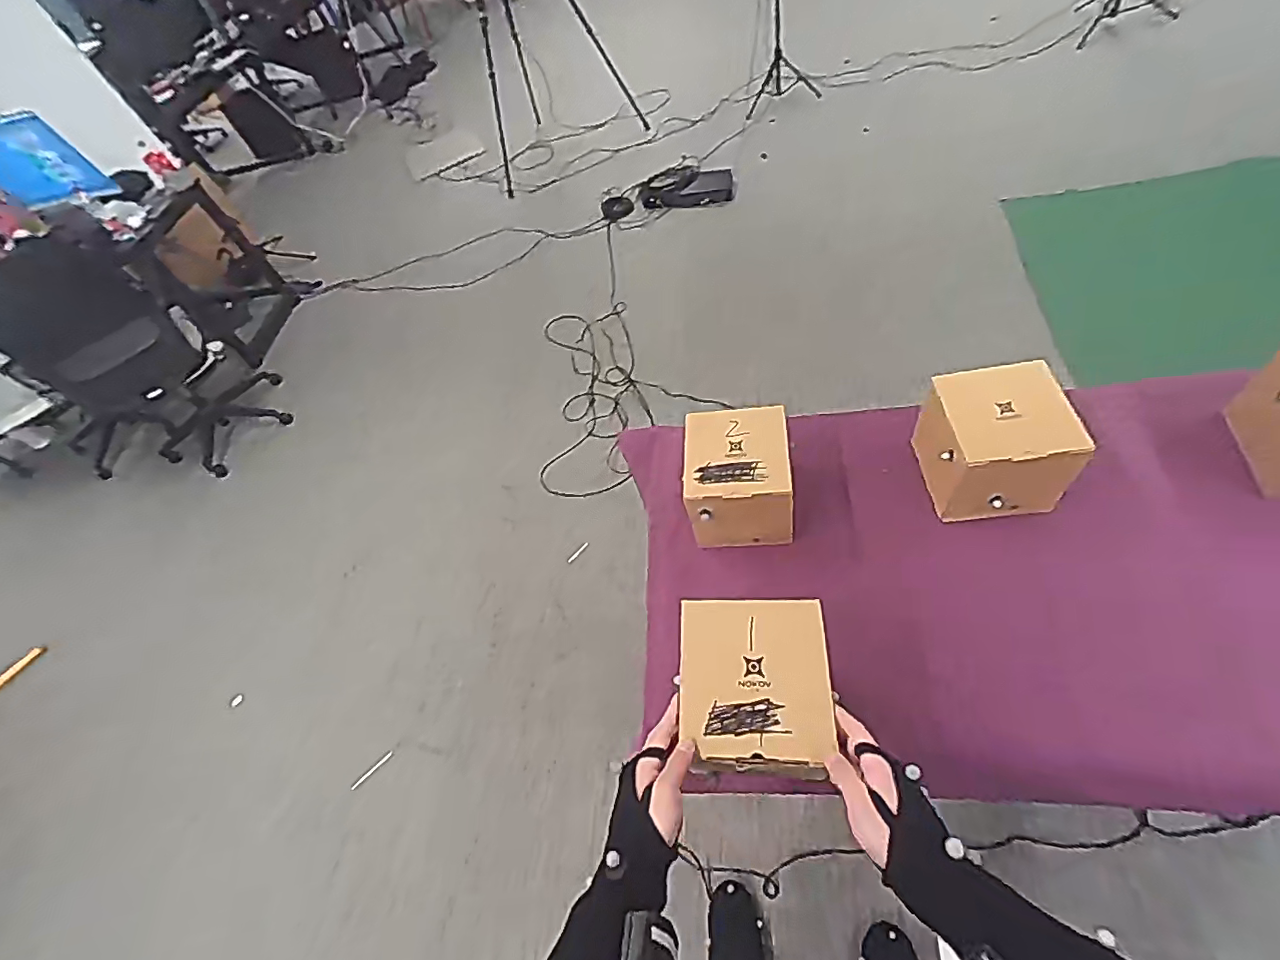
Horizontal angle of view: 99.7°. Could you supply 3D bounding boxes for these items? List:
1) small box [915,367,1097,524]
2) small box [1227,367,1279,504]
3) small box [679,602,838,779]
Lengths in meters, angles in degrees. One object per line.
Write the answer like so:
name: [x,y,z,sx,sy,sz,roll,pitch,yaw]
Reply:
small box: [0.561,-0.051,0.863,0.168,0.176,0.179,-7,56,10]
small box: [1.000,-0.077,0.758,0.168,0.176,0.179,1,57,17]
small box: [0.142,0.262,0.667,0.168,0.176,0.179,-2,57,10]
